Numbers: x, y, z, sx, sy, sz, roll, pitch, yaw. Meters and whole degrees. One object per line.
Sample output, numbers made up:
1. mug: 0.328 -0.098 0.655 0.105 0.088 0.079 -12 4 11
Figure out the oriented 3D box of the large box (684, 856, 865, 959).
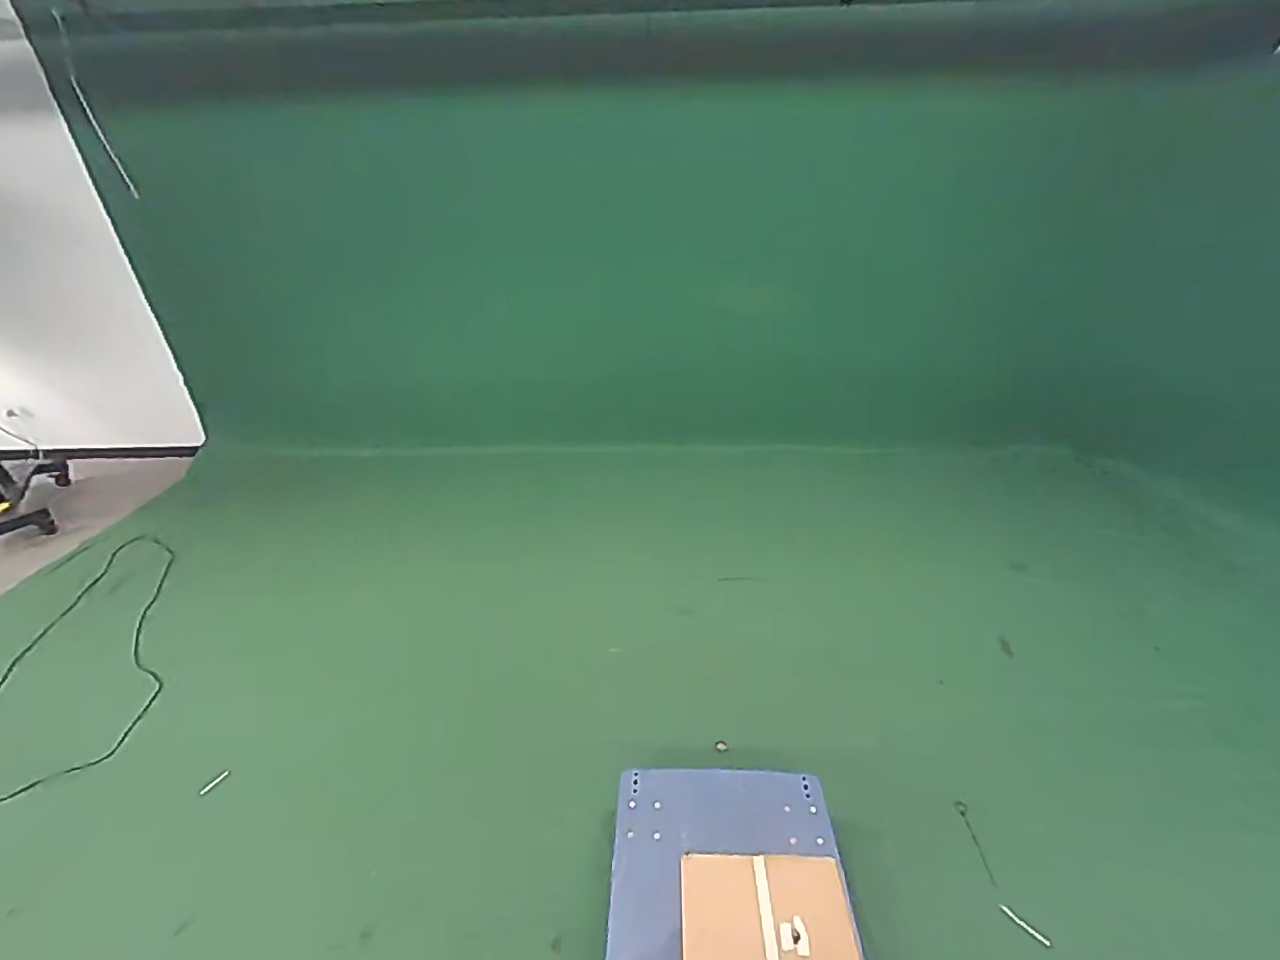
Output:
1. large box: 0.243 0.985 0.980 0.320 0.320 0.408 0 28 3
